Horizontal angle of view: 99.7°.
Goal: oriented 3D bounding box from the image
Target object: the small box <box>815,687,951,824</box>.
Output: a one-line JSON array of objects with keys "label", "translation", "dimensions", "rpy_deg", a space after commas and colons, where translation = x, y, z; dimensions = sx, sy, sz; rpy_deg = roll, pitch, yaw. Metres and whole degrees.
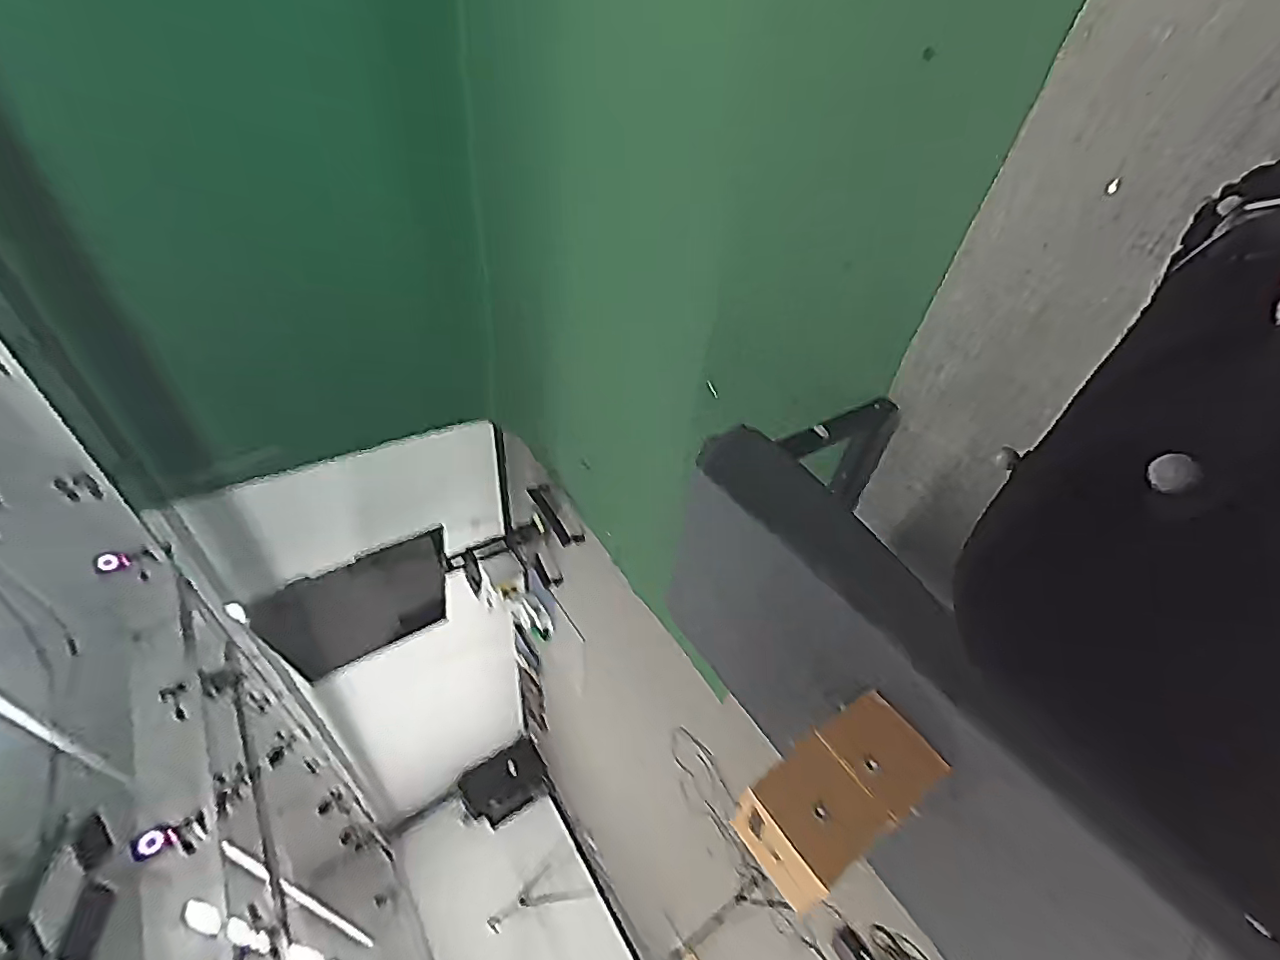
[{"label": "small box", "translation": [0.442, 0.534, 1.024], "dimensions": [0.179, 0.176, 0.168], "rpy_deg": [48, 145, 35]}]

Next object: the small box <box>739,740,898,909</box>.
[{"label": "small box", "translation": [0.307, 0.591, 0.949], "dimensions": [0.179, 0.176, 0.168], "rpy_deg": [44, 144, 35]}]
